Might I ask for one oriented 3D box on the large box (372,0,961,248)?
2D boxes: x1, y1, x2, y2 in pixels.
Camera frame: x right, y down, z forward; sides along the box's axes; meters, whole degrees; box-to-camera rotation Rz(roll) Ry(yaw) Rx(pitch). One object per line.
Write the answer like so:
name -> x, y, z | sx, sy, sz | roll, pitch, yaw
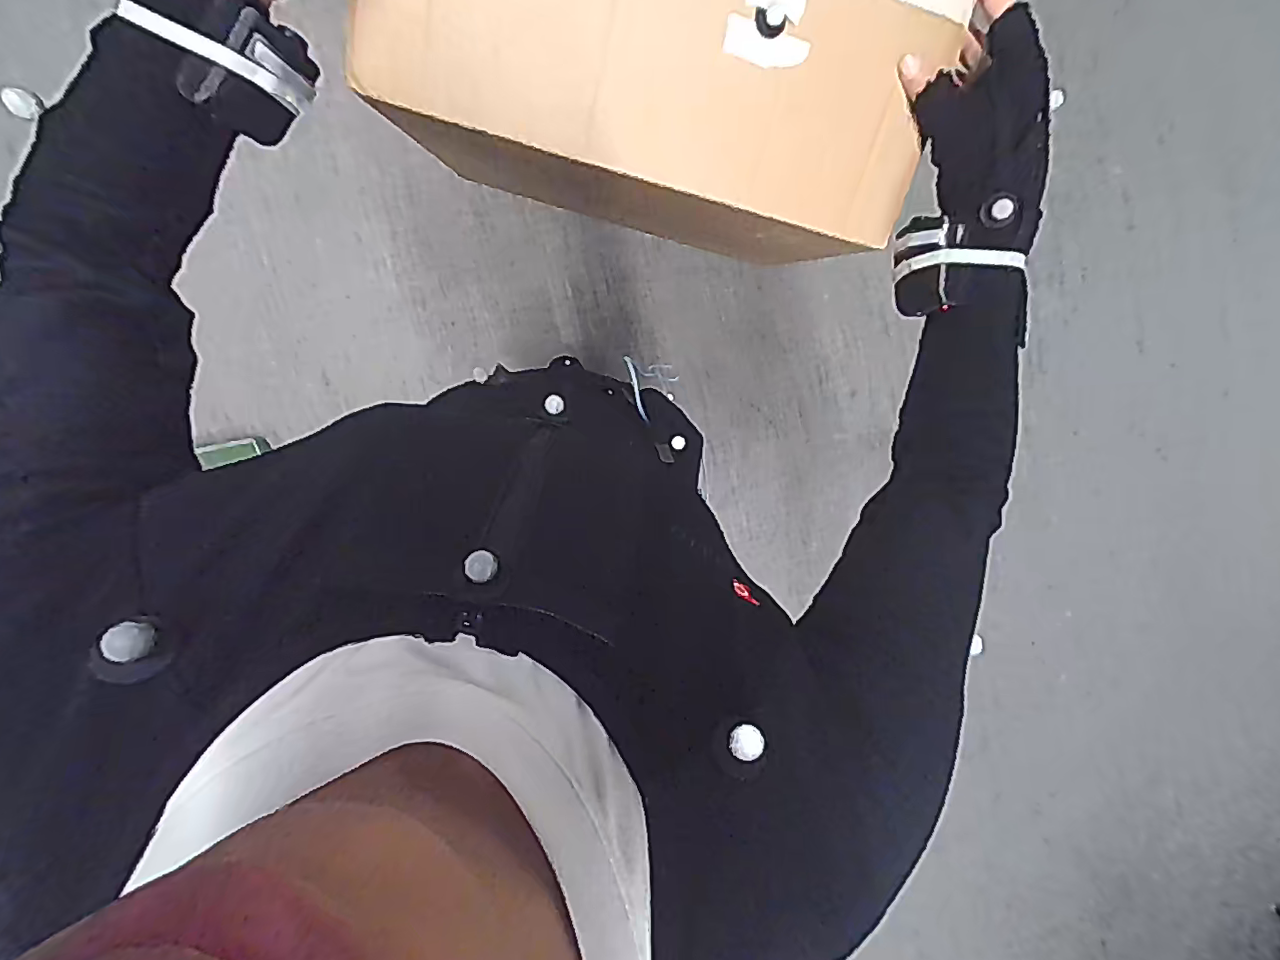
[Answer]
large box -> 0.023, -0.428, 0.495 | 0.408, 0.320, 0.320 | 11, 109, -9
